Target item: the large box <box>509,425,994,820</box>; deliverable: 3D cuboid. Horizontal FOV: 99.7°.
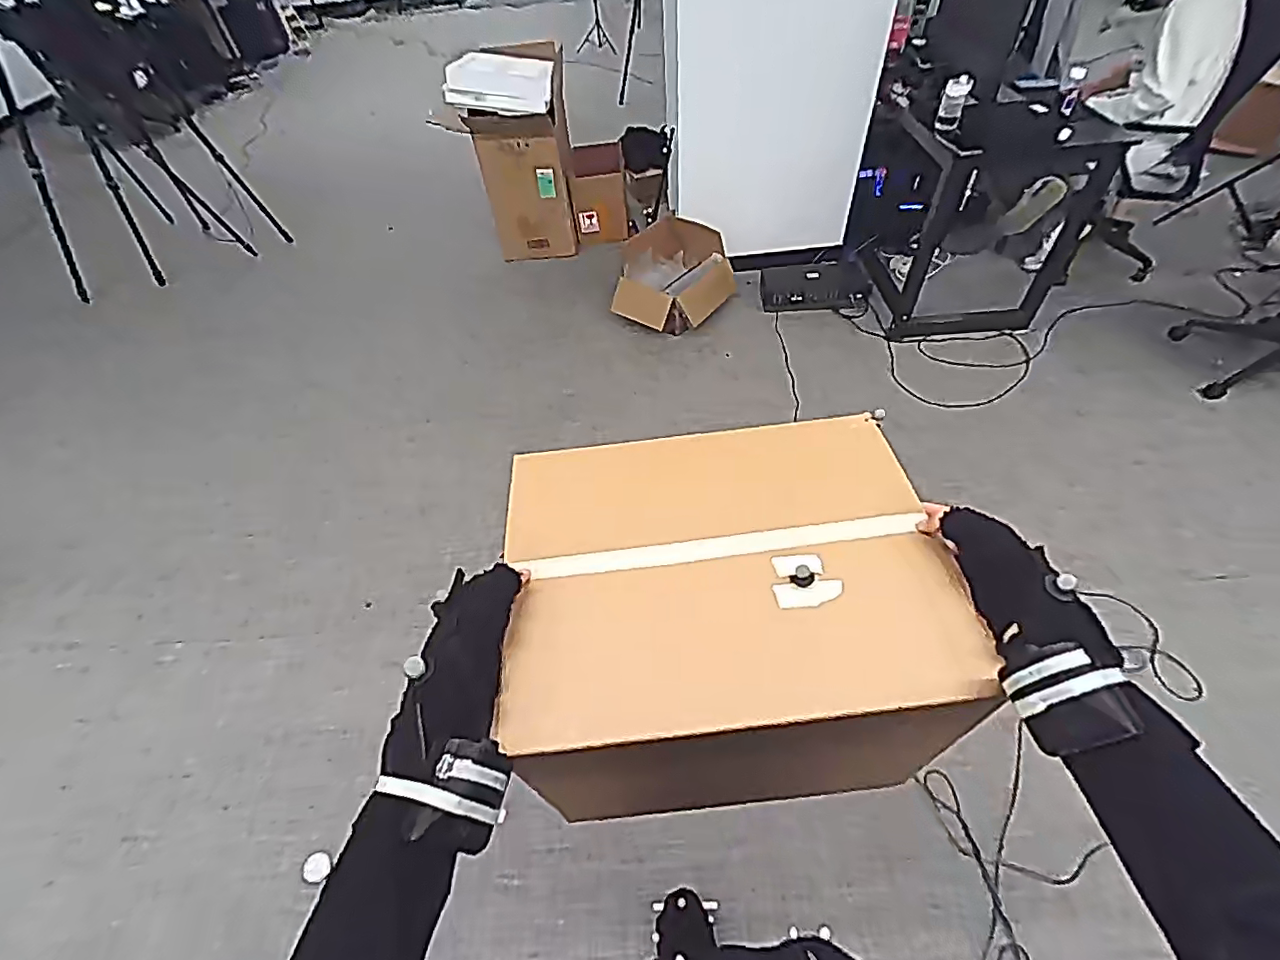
[{"bbox_3d":[0.085,0.172,0.638,0.408,0.320,0.320,-7,49,0],"label":"large box"}]
